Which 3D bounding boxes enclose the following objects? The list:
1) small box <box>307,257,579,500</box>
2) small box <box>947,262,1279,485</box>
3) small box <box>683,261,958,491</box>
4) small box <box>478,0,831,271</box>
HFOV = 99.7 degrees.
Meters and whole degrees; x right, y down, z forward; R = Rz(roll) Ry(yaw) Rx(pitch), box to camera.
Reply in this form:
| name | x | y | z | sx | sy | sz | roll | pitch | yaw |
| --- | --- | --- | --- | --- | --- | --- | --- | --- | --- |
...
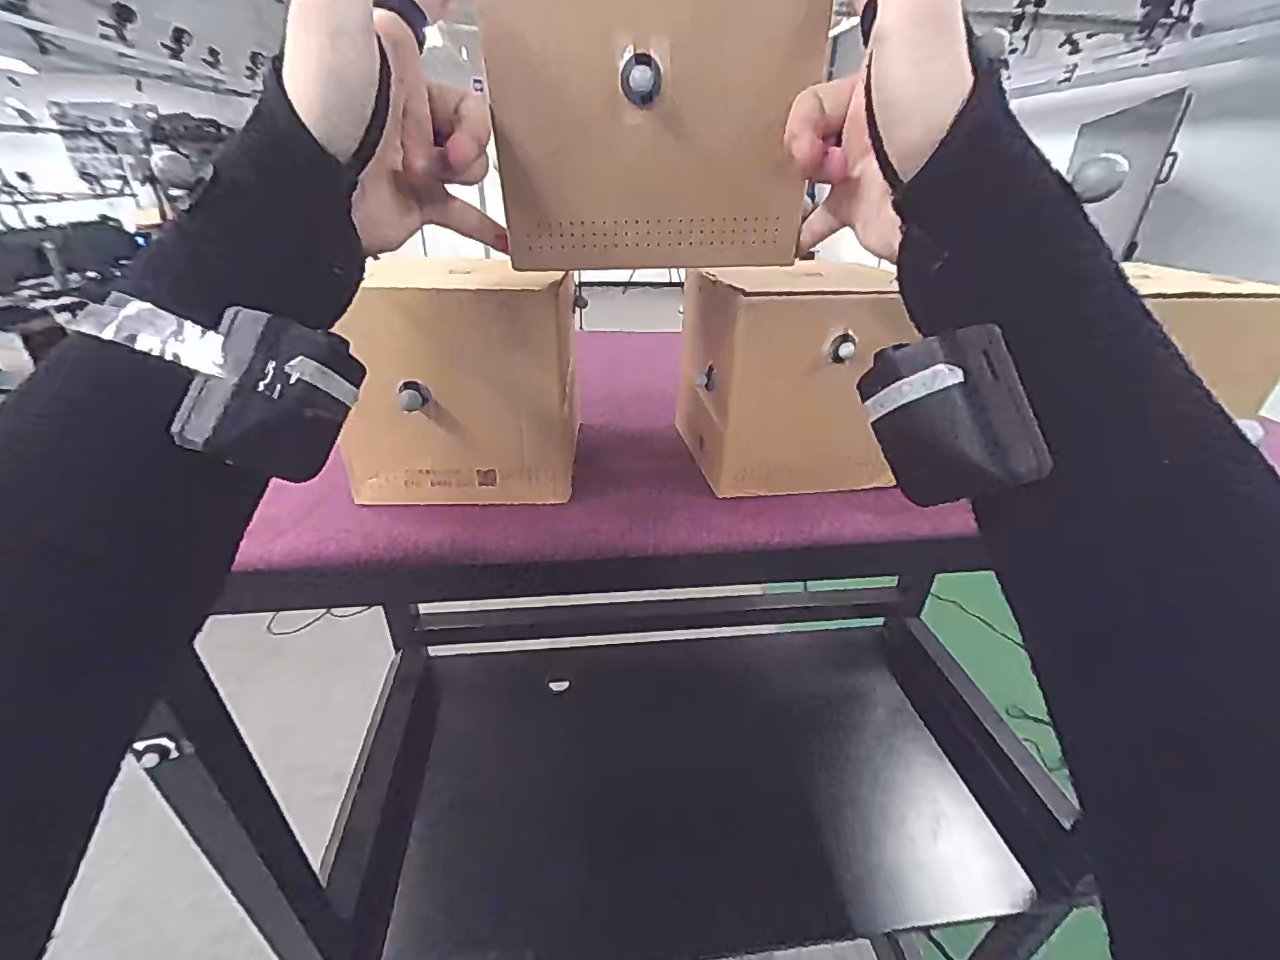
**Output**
| name | x | y | z | sx | sy | sz | roll | pitch | yaw |
| --- | --- | --- | --- | --- | --- | --- | --- | --- | --- |
| small box | -0.140 | -0.091 | 0.462 | 0.168 | 0.176 | 0.179 | -1 | 27 | -4 |
| small box | 0.425 | -0.105 | 0.513 | 0.179 | 0.176 | 0.168 | -4 | 30 | -6 |
| small box | 0.138 | -0.099 | 0.489 | 0.179 | 0.176 | 0.168 | -3 | 29 | -9 |
| small box | 0.006 | -0.242 | 0.349 | 0.179 | 0.176 | 0.168 | -2 | 36 | -2 |
